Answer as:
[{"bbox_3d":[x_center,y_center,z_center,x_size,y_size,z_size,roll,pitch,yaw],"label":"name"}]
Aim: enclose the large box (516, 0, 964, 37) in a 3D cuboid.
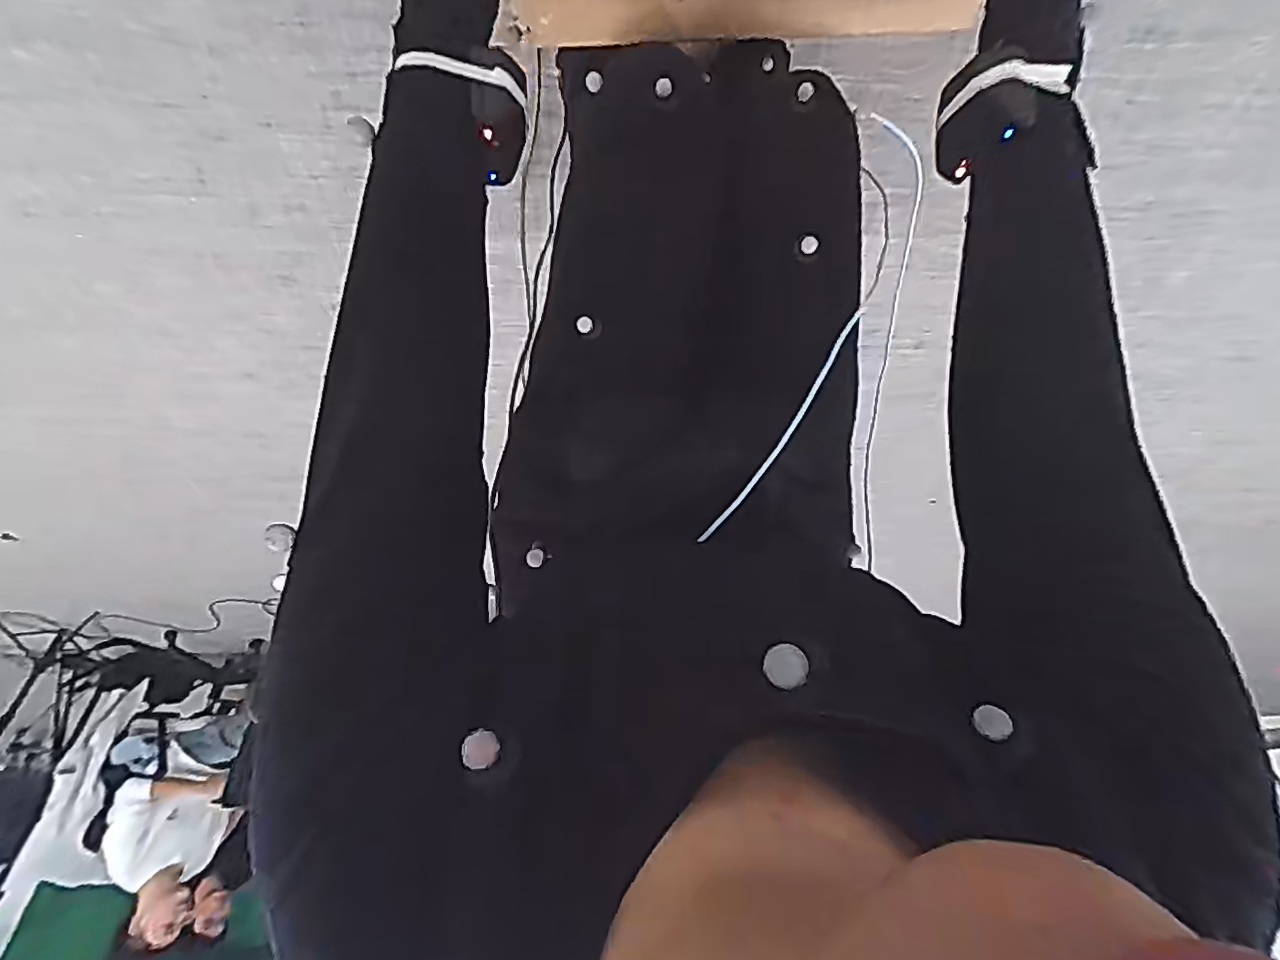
[{"bbox_3d":[0.086,-0.621,0.452,0.408,0.320,0.320,-1,144,0],"label":"large box"}]
